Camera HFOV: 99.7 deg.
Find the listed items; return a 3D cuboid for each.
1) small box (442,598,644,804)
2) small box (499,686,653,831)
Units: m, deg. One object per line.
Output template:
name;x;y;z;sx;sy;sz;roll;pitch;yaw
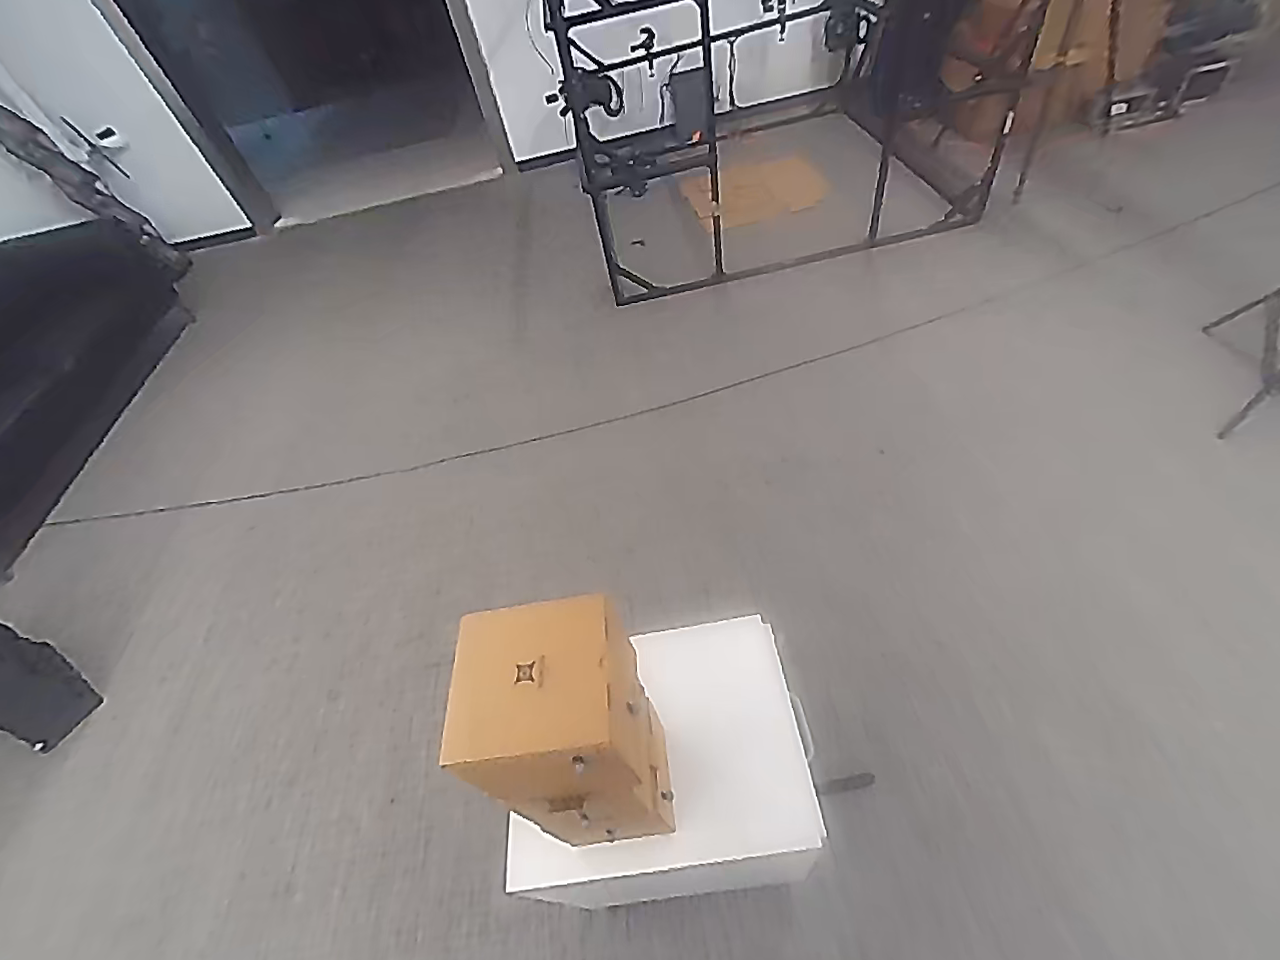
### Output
small box;-0.099;0.261;0.630;0.179;0.176;0.168;-10;48;4
small box;-0.079;0.367;0.753;0.168;0.176;0.179;-10;48;6
